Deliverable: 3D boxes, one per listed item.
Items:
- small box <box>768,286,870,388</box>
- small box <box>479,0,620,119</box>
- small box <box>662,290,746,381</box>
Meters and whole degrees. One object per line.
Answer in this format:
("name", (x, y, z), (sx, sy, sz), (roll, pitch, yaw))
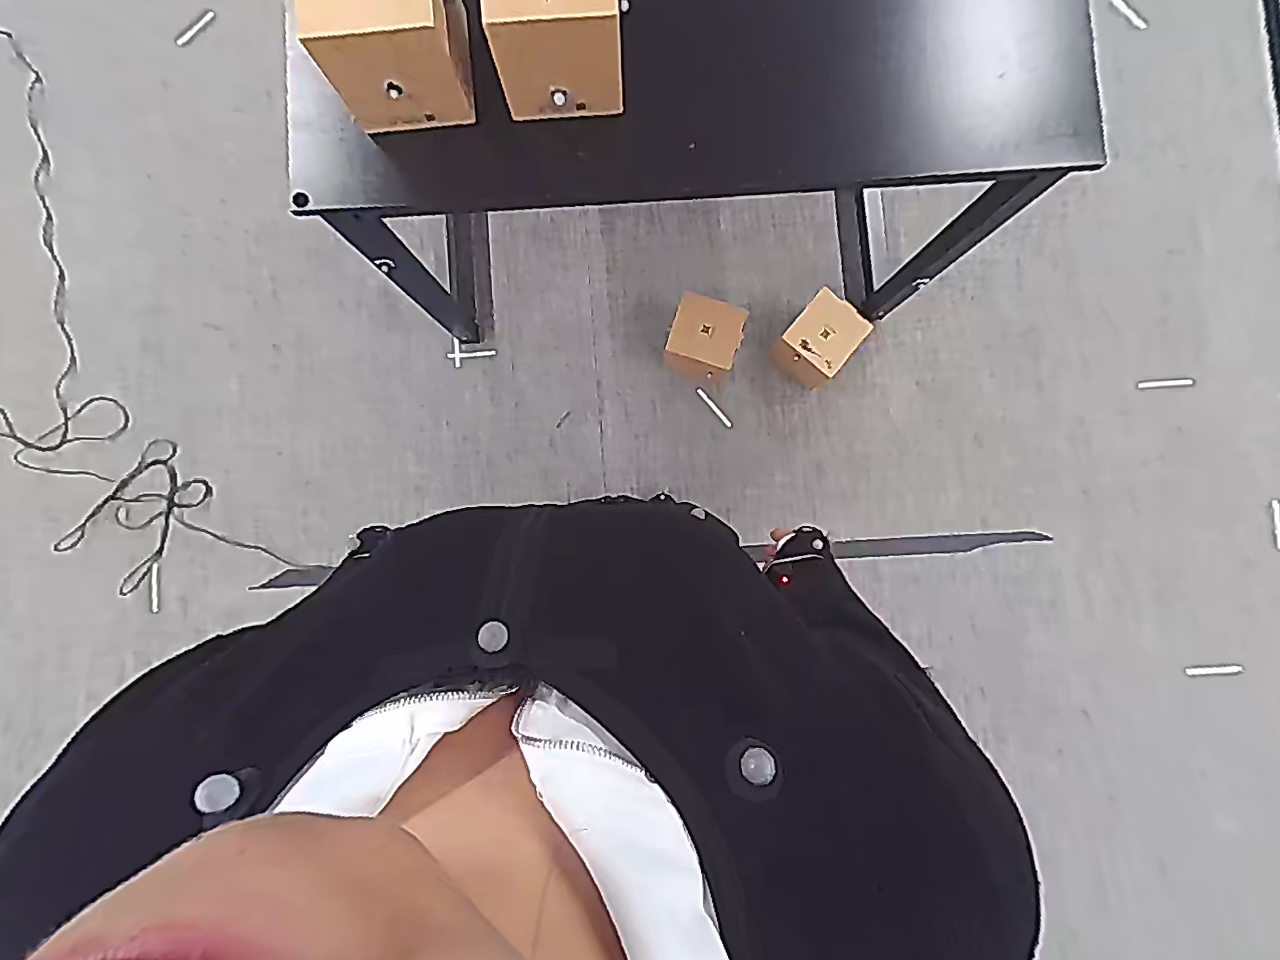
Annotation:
("small box", (0.468, -0.374, 1.446), (0.168, 0.176, 0.179), (40, 88, 2))
("small box", (-0.115, -0.630, 0.727), (0.168, 0.176, 0.179), (-4, 88, 0))
("small box", (0.165, -0.378, 1.448), (0.179, 0.176, 0.168), (17, 87, 2))
